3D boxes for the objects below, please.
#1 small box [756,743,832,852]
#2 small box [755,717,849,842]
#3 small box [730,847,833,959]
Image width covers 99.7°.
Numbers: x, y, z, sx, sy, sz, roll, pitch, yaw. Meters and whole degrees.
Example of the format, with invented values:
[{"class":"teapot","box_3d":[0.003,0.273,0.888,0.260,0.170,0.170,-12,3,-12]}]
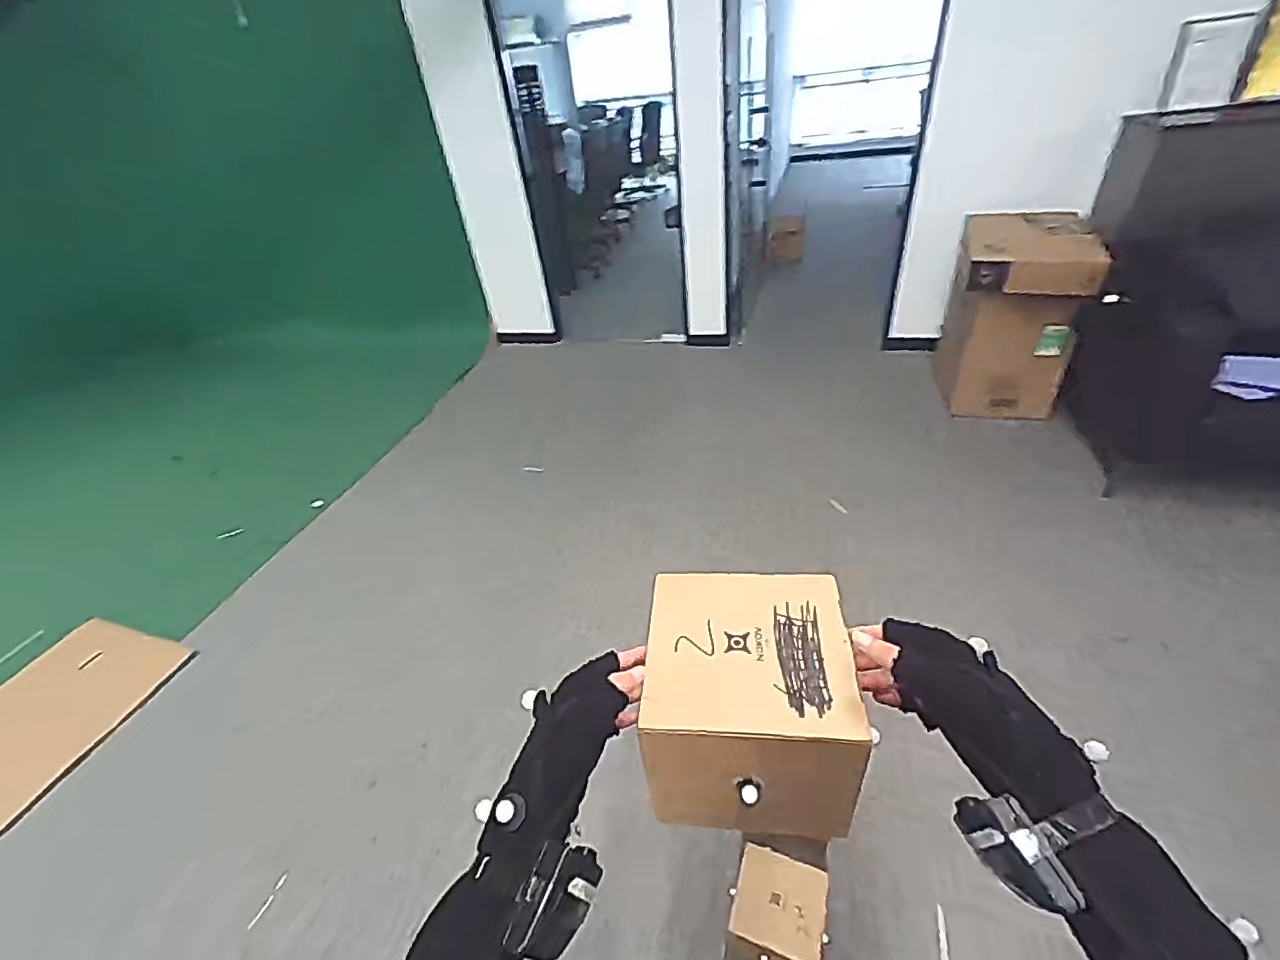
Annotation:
[{"class":"small box","box_3d":[0.373,0.766,1.305,0.179,0.176,0.168,3,38,13]},{"class":"small box","box_3d":[0.352,0.656,1.181,0.179,0.176,0.168,6,39,19]},{"class":"small box","box_3d":[0.293,0.912,1.122,0.179,0.176,0.168,9,40,22]}]
